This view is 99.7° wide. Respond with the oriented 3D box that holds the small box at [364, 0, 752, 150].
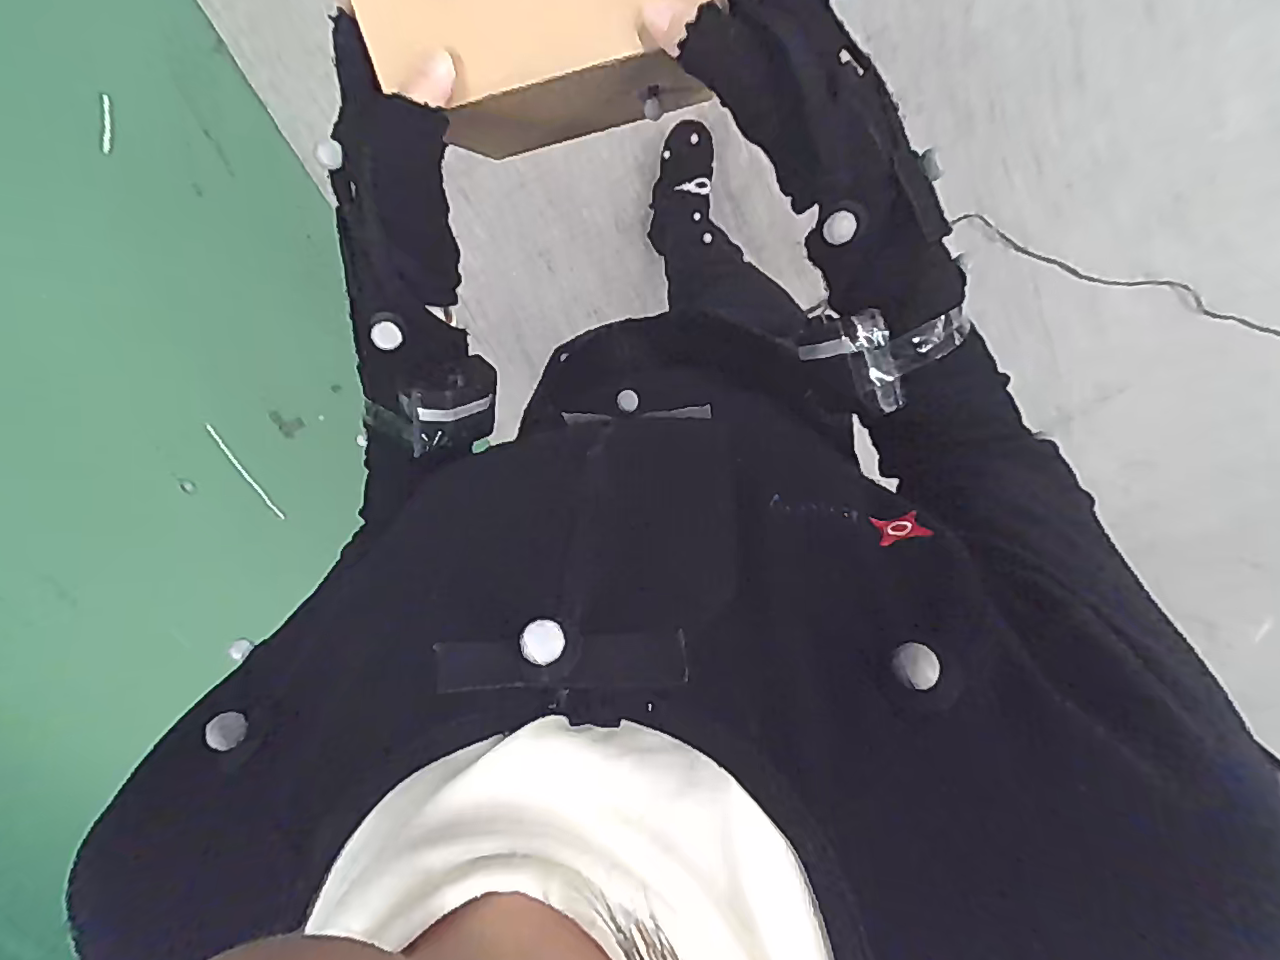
[{"bbox_3d":[-0.049,-0.303,0.292,0.179,0.176,0.168,-14,113,10],"label":"small box"}]
